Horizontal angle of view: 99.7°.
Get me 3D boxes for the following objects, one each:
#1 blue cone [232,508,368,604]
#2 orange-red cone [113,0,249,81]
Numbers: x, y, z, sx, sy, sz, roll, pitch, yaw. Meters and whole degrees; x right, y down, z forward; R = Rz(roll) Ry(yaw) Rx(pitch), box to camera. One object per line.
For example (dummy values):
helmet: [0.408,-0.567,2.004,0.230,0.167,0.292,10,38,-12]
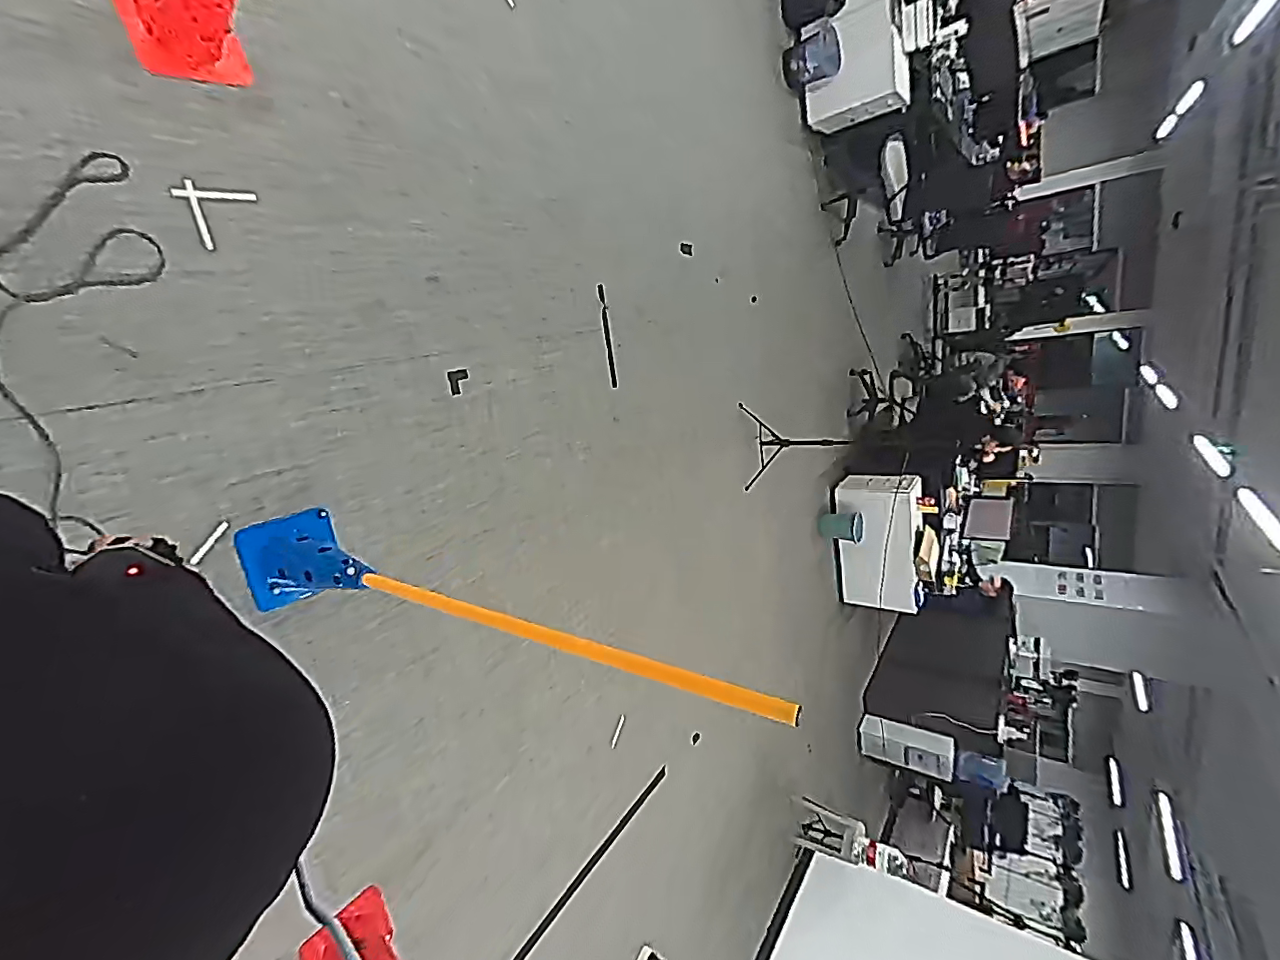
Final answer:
blue cone: [-0.687,0.180,1.158,0.193,0.380,0.192,-23,109,-51]
orange-red cone: [-0.781,-0.910,0.966,0.199,0.360,0.198,-33,116,-46]
